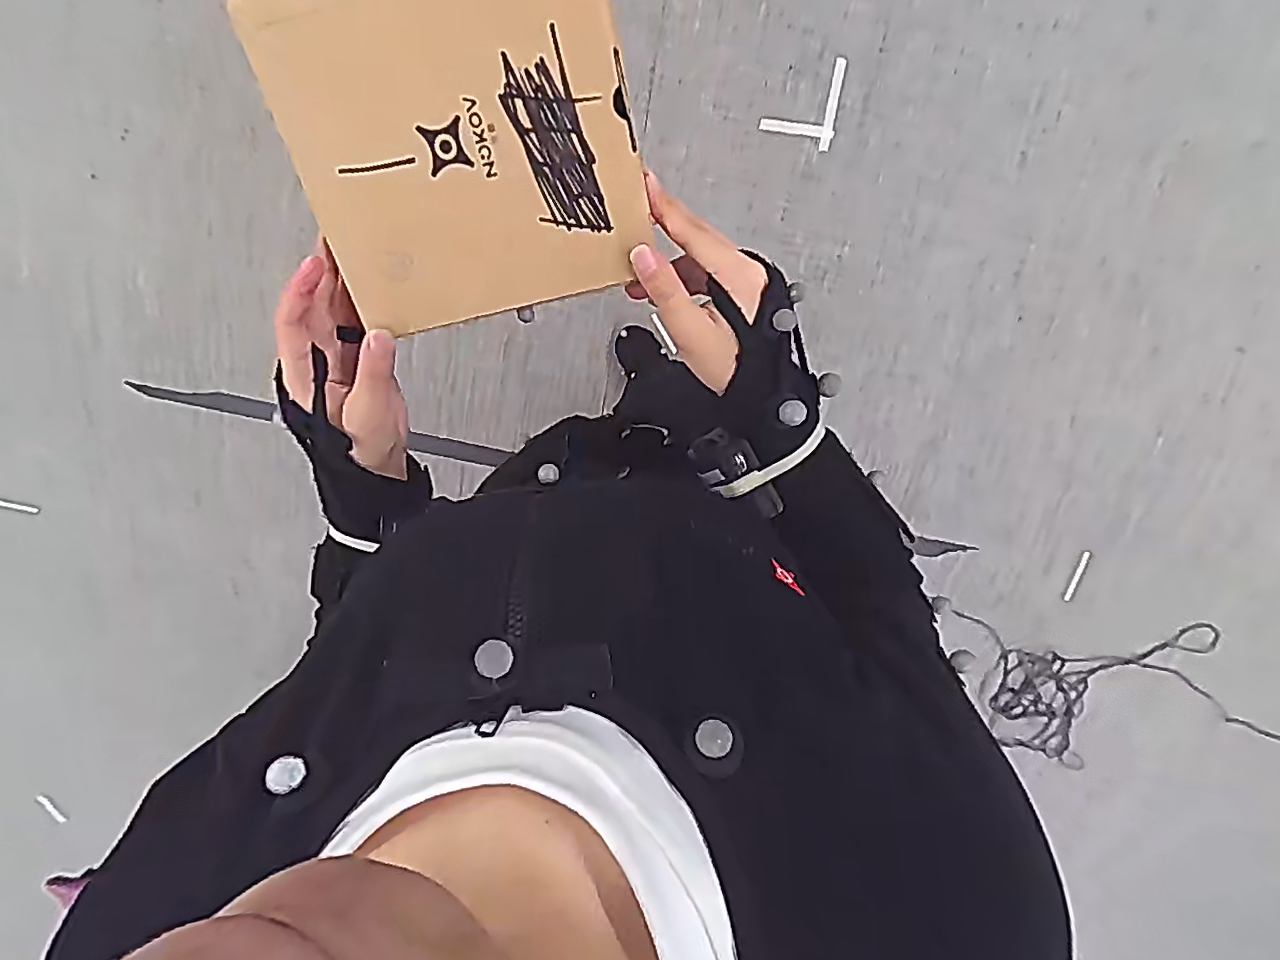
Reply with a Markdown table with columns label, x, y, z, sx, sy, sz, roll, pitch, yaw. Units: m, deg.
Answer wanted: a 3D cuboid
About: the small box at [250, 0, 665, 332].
| label | x | y | z | sx | sy | sz | roll | pitch | yaw |
| --- | --- | --- | --- | --- | --- | --- | --- | --- | --- |
| small box | -0.088 | -0.209 | 0.356 | 0.179 | 0.176 | 0.168 | -11 | 114 | 4 |
